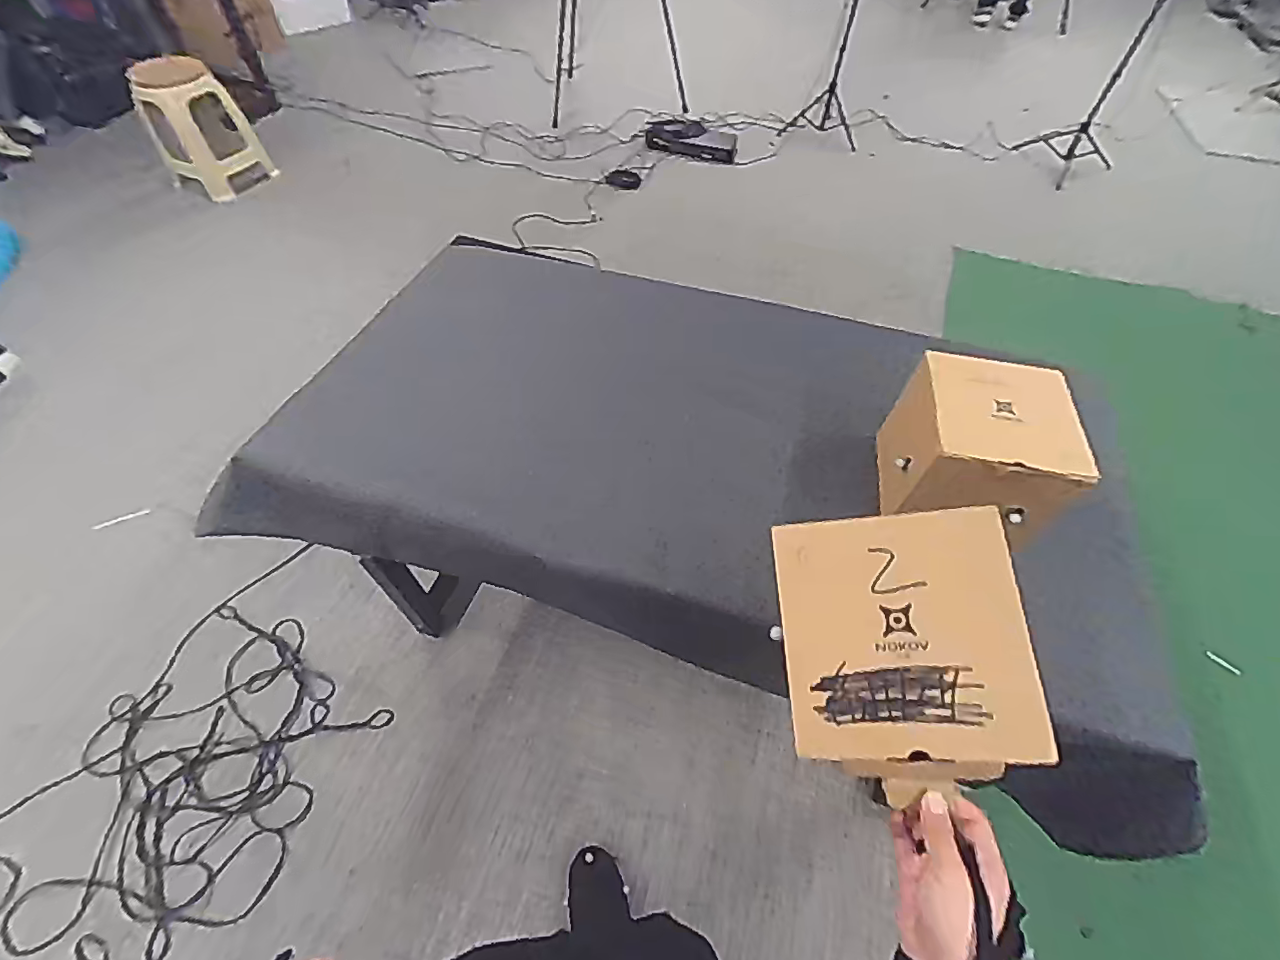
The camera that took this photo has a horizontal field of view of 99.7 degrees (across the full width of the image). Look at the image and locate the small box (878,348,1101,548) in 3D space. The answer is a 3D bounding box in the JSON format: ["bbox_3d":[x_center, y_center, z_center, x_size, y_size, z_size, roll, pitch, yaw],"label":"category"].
[{"bbox_3d":[0.418,-0.036,0.686,0.168,0.176,0.179,11,53,5],"label":"small box"}]
